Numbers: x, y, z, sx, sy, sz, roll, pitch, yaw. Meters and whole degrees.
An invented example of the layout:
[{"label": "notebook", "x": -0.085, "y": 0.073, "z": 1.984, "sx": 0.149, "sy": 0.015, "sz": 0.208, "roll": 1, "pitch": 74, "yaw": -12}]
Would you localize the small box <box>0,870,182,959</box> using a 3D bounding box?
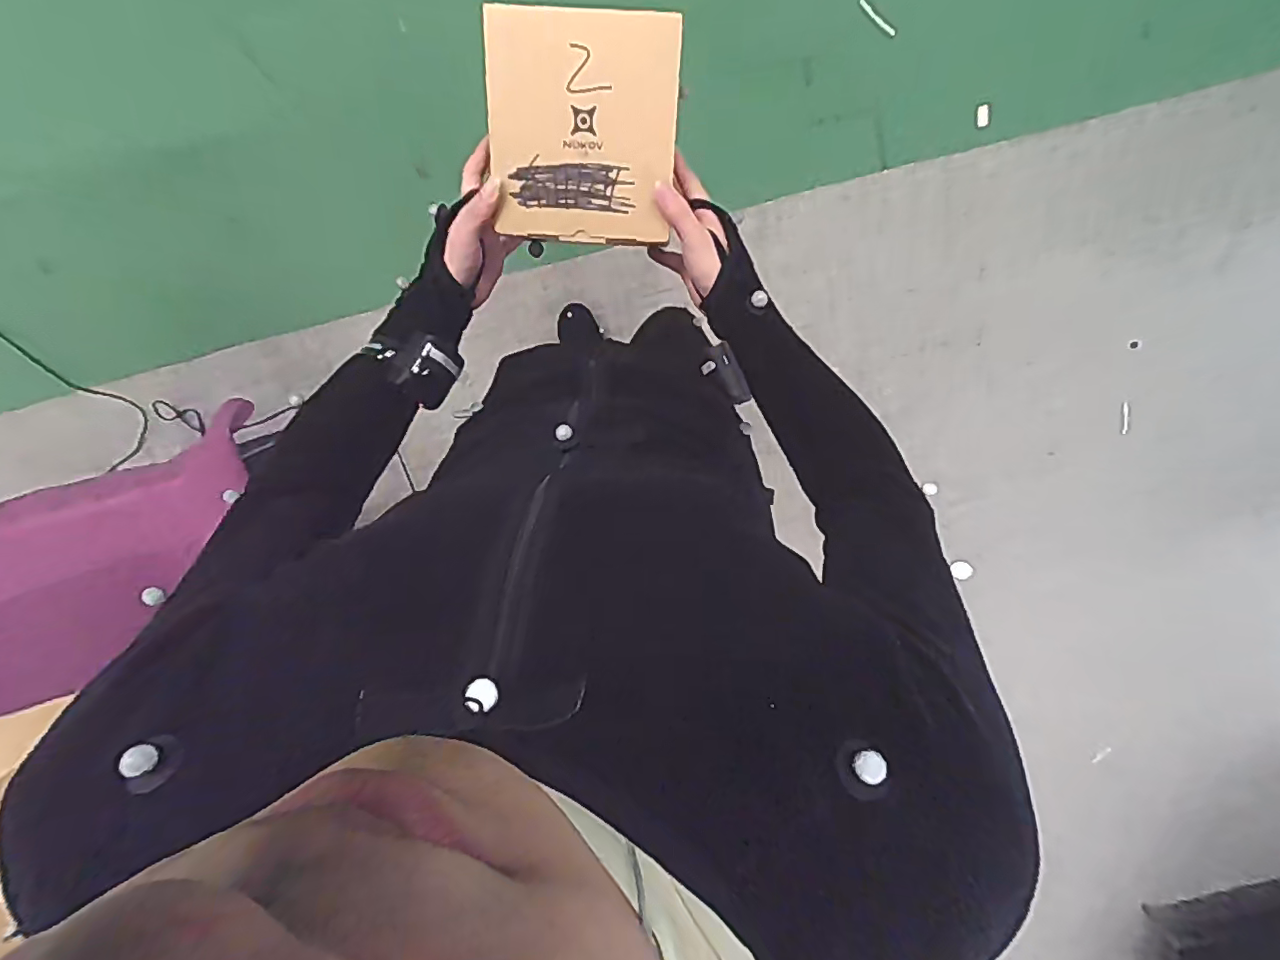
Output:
[{"label": "small box", "x": -0.818, "y": 0.676, "z": 0.776, "sx": 0.179, "sy": 0.176, "sz": 0.168, "roll": -18, "pitch": 105, "yaw": 2}]
